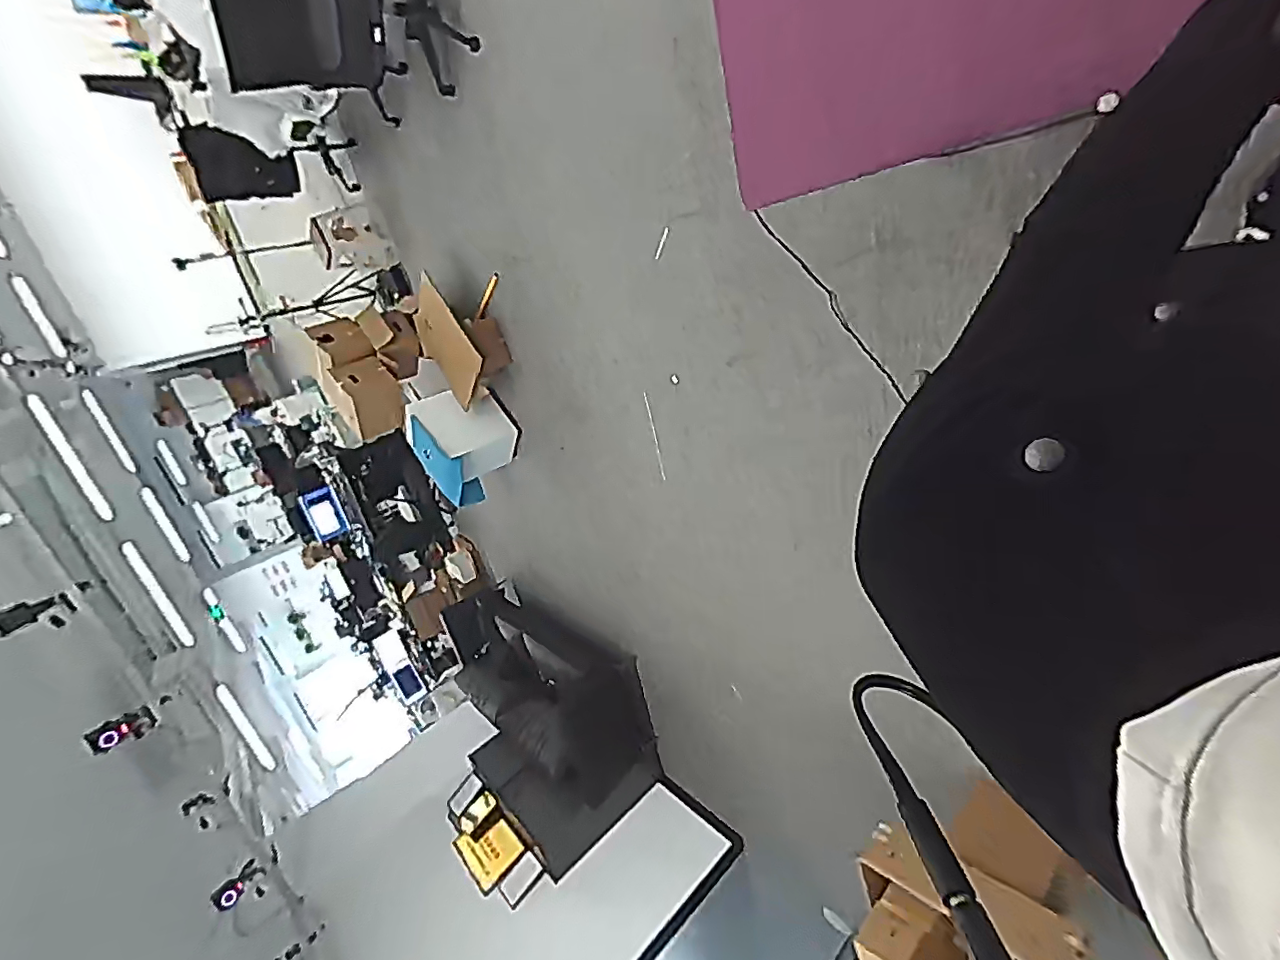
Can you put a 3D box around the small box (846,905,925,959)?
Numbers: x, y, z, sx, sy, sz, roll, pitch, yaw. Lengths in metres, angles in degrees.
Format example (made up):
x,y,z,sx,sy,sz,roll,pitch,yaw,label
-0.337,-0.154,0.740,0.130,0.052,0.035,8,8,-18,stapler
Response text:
x,y,z,sx,sy,sz,roll,pitch,yaw,label
0.803,1.550,1.756,0.168,0.176,0.179,-6,107,54,small box
